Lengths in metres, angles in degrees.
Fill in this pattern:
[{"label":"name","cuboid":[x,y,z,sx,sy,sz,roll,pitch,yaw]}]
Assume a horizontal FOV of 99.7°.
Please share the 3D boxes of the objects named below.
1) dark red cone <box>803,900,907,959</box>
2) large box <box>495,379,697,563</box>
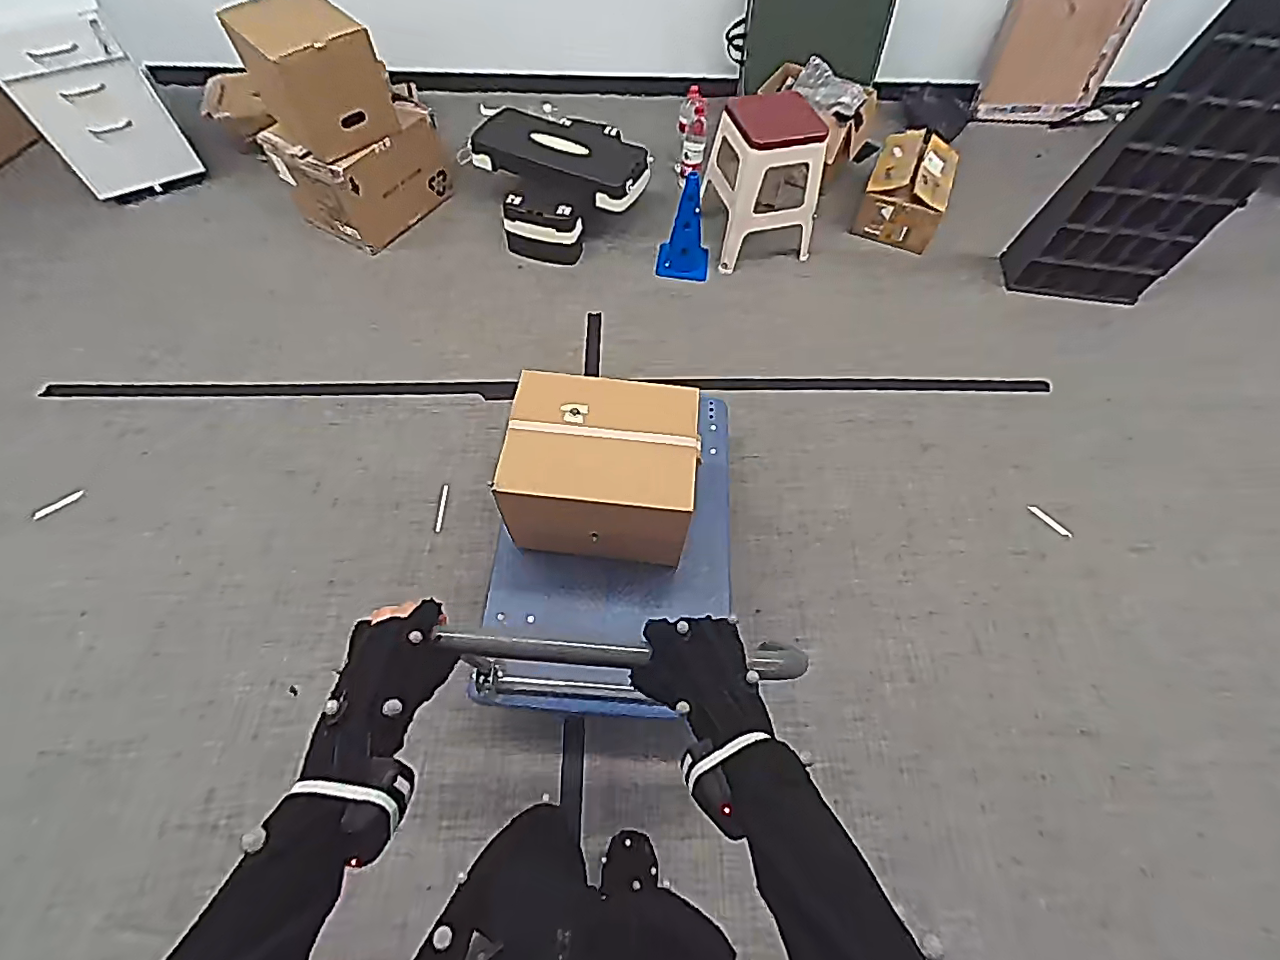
[{"label":"dark red cone","cuboid":[0.444,0.882,0.933,0.201,0.394,0.202,1,61,-3]},{"label":"large box","cuboid":[-0.083,-0.009,1.281,0.408,0.320,0.320,6,61,2]}]
